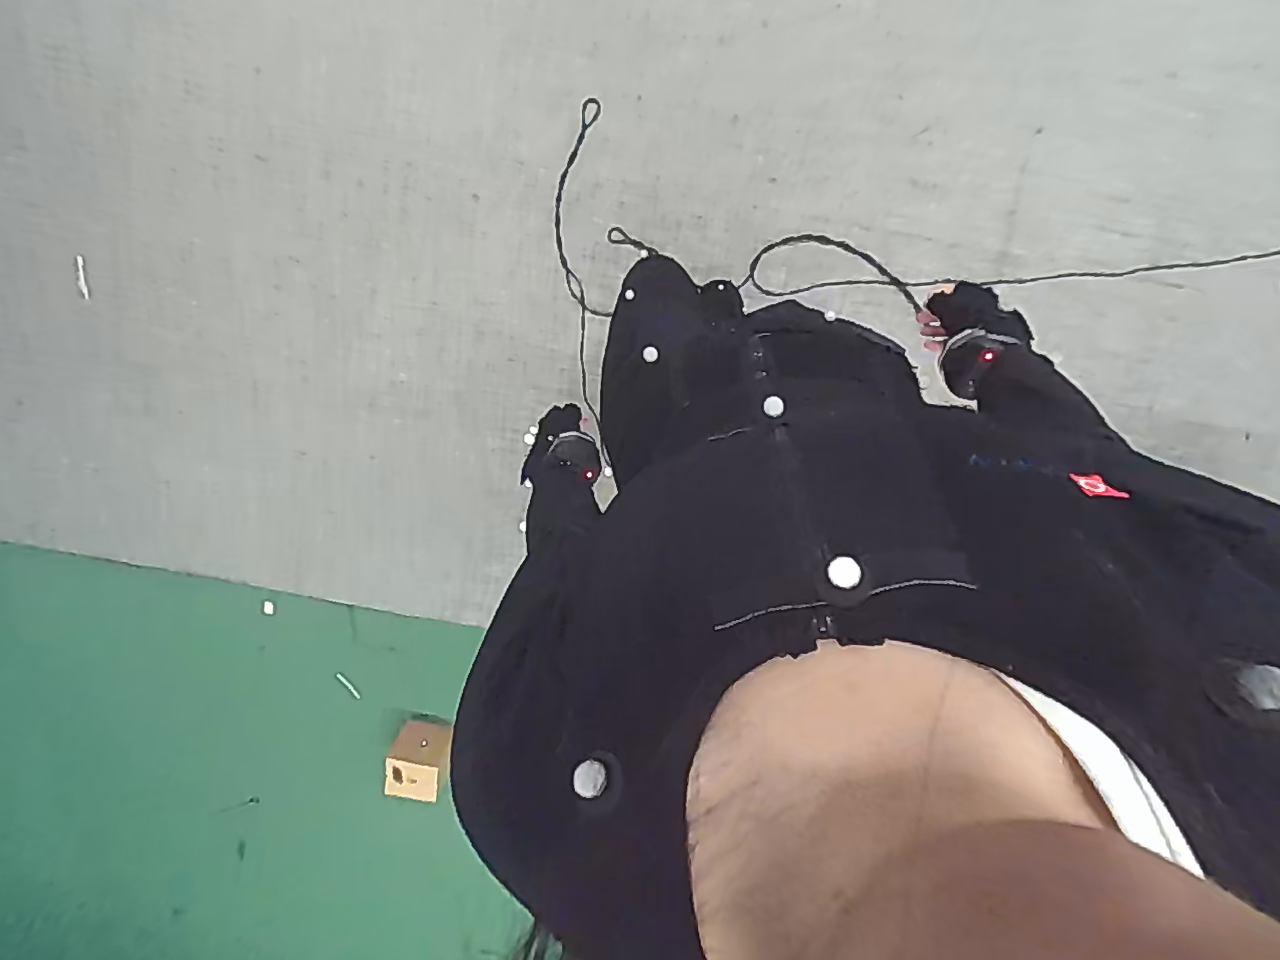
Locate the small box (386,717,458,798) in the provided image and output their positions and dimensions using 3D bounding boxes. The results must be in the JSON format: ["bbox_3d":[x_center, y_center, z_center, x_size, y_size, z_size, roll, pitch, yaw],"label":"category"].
[{"bbox_3d":[-0.746,0.944,1.855,0.179,0.176,0.168,12,112,-2],"label":"small box"}]
